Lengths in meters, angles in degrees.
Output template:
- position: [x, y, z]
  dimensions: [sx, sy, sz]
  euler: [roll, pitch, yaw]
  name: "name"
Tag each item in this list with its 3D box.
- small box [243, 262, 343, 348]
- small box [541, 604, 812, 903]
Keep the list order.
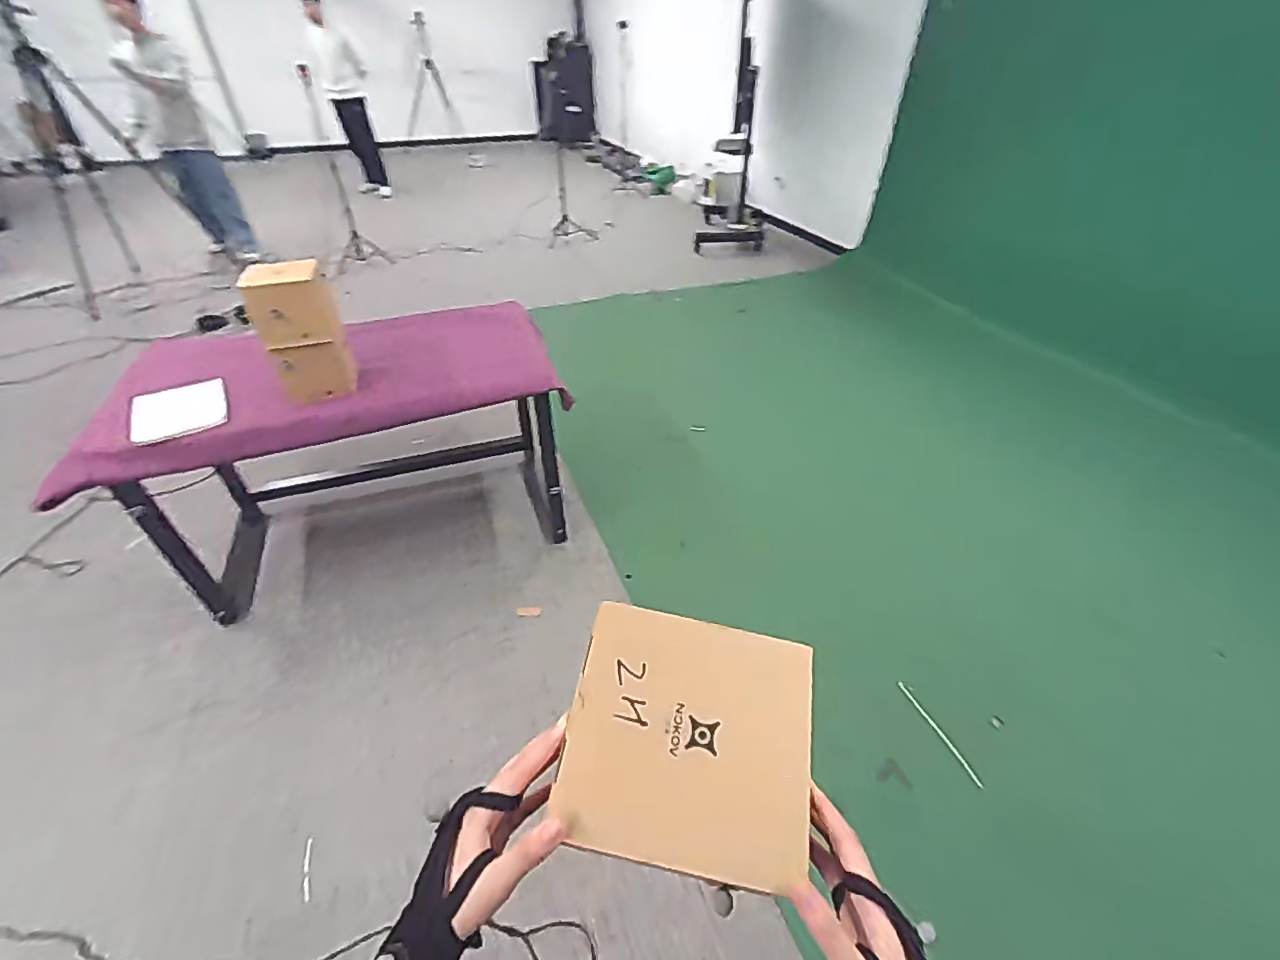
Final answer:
- position: [-0.901, -0.455, 1.423]
  dimensions: [0.168, 0.176, 0.179]
  euler: [-12, 40, -15]
  name: "small box"
- position: [0.029, 0.228, 0.455]
  dimensions: [0.179, 0.176, 0.168]
  euler: [12, 55, 3]
  name: "small box"
